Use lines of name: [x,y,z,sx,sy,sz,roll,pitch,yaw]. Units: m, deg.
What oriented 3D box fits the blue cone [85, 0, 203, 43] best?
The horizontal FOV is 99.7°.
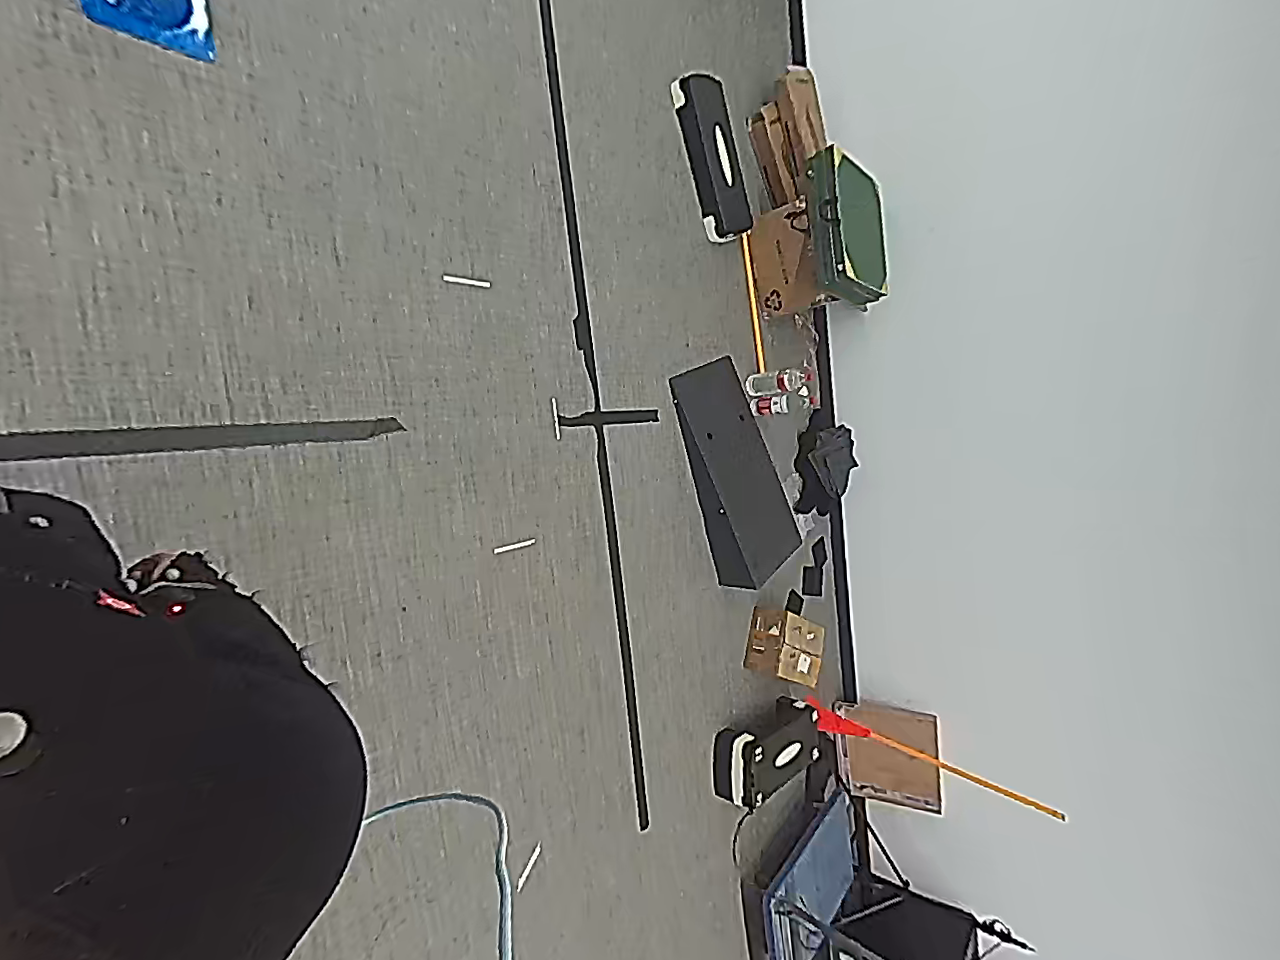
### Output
blue cone: [-0.848,-0.973,0.932,0.193,0.380,0.192,-10,95,-48]
